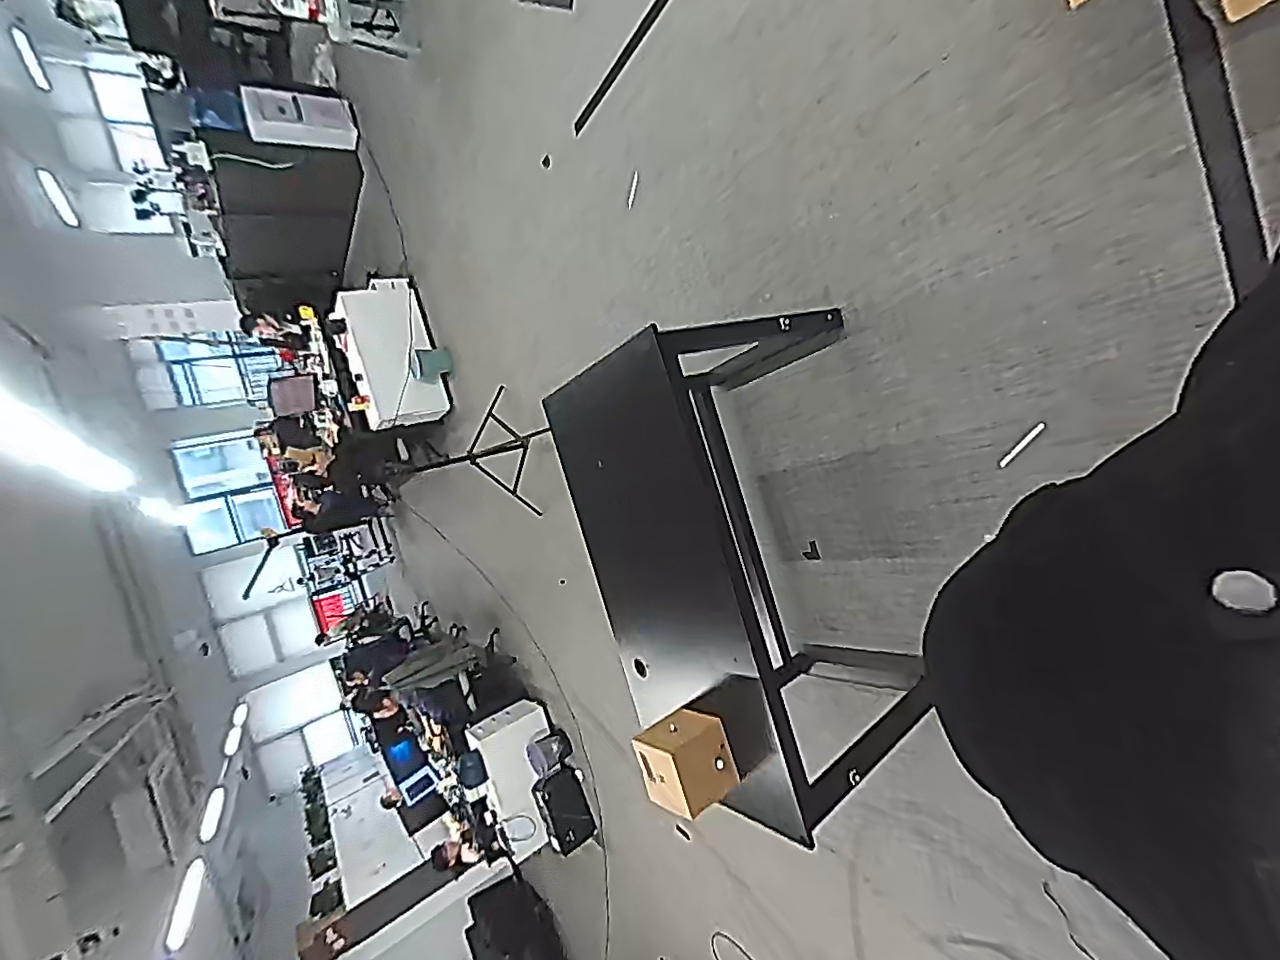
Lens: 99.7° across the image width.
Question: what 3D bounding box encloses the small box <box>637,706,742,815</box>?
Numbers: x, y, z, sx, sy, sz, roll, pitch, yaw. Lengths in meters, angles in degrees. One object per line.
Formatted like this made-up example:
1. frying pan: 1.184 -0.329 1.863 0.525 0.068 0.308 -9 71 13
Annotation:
1. small box: 0.125 0.694 1.365 0.179 0.176 0.168 -19 89 55
